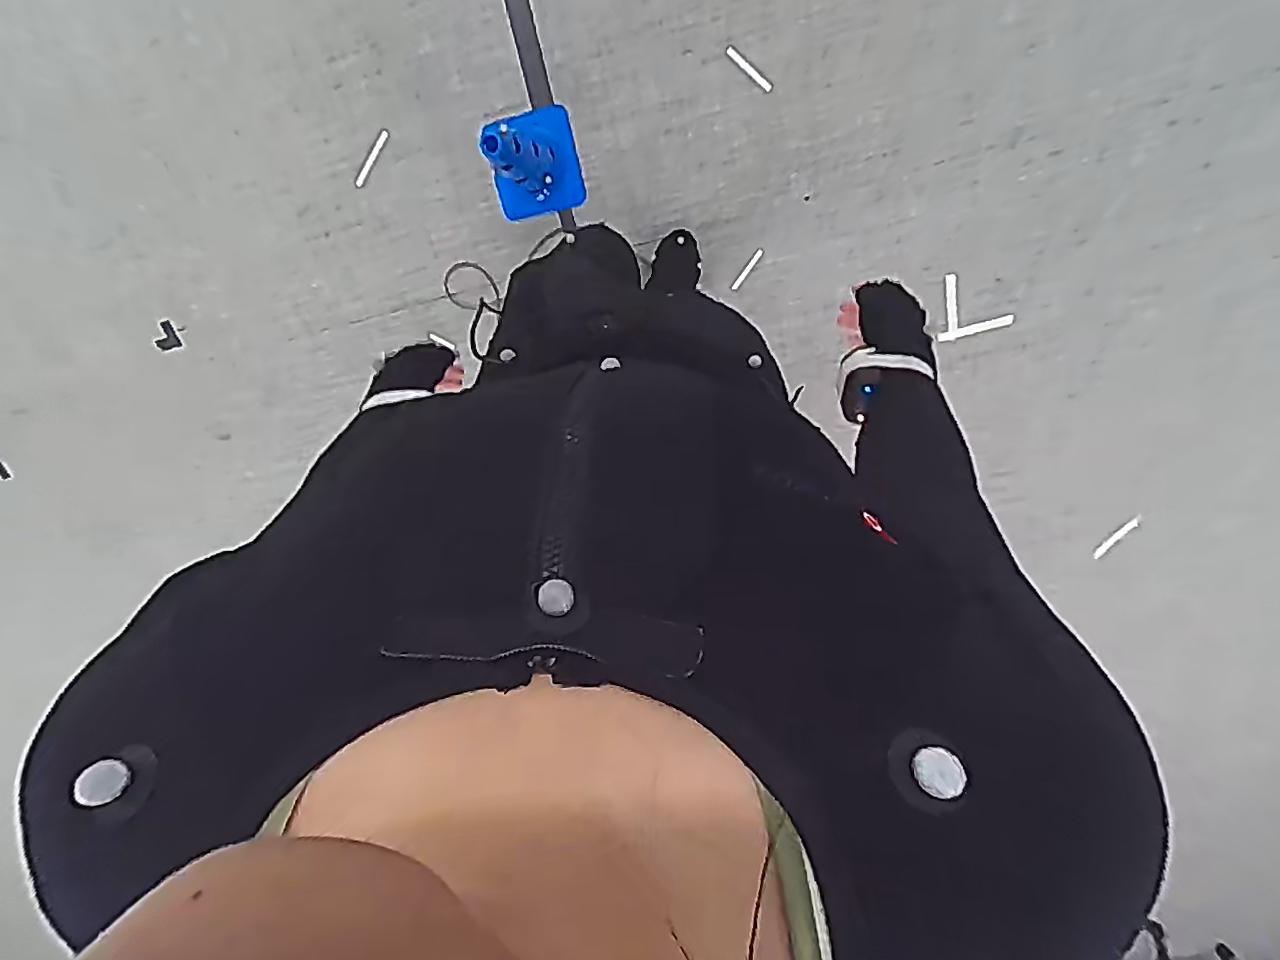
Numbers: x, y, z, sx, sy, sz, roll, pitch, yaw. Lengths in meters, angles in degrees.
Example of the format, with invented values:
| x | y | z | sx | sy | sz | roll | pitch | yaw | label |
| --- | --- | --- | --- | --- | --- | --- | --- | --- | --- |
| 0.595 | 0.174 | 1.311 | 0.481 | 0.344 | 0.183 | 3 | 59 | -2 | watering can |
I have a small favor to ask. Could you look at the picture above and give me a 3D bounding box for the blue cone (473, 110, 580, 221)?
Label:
| x | y | z | sx | sy | sz | roll | pitch | yaw | label |
| --- | --- | --- | --- | --- | --- | --- | --- | --- | --- |
| -0.247 | -0.624 | 1.058 | 0.193 | 0.380 | 0.192 | -12 | 114 | 9 | blue cone |
